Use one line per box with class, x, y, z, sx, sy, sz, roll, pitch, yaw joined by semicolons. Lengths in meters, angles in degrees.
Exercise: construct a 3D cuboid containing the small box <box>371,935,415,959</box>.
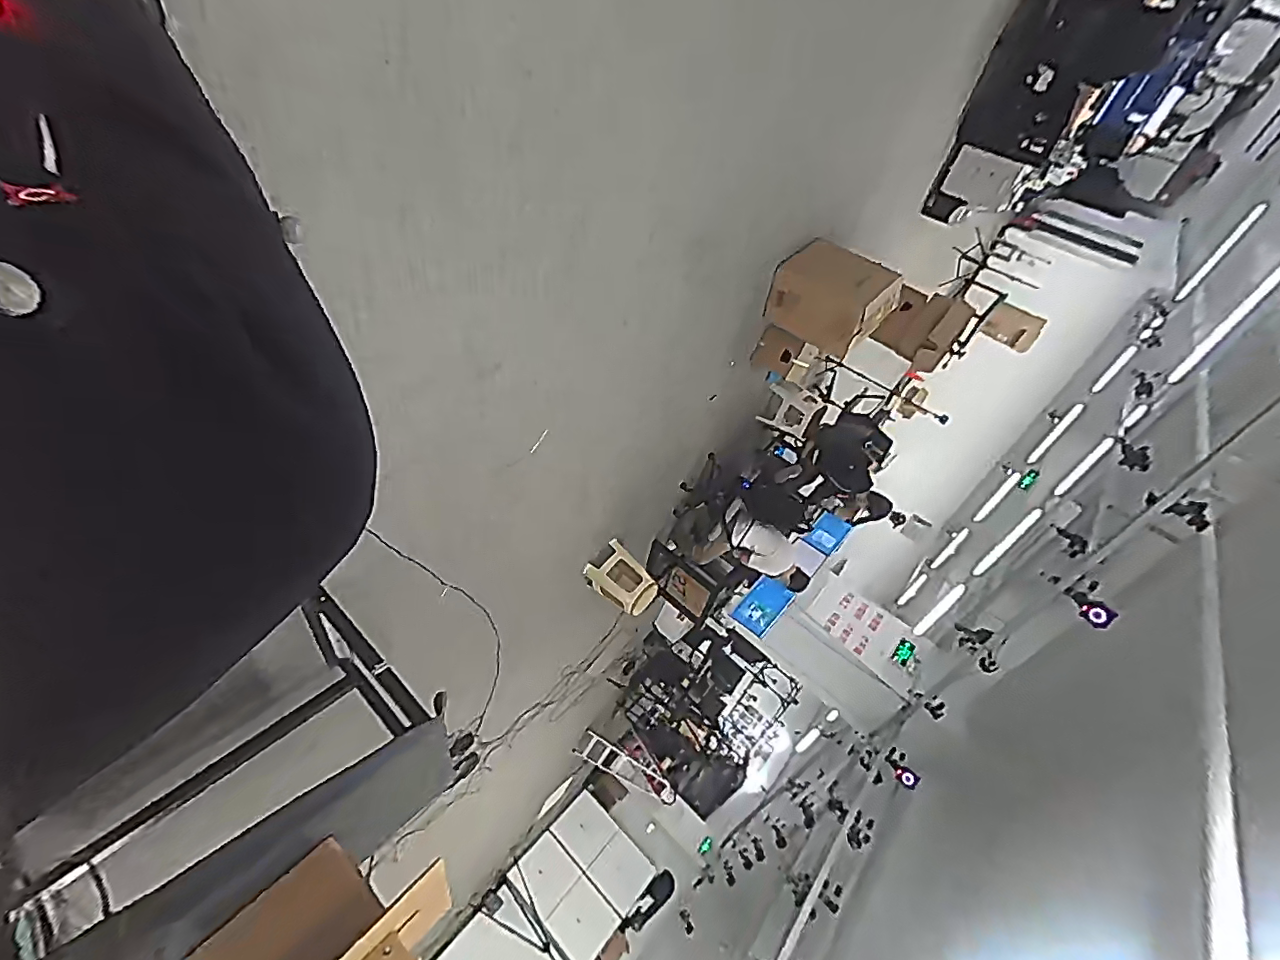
small box;-0.679;1.386;1.461;0.168;0.176;0.179;-33;150;-39
